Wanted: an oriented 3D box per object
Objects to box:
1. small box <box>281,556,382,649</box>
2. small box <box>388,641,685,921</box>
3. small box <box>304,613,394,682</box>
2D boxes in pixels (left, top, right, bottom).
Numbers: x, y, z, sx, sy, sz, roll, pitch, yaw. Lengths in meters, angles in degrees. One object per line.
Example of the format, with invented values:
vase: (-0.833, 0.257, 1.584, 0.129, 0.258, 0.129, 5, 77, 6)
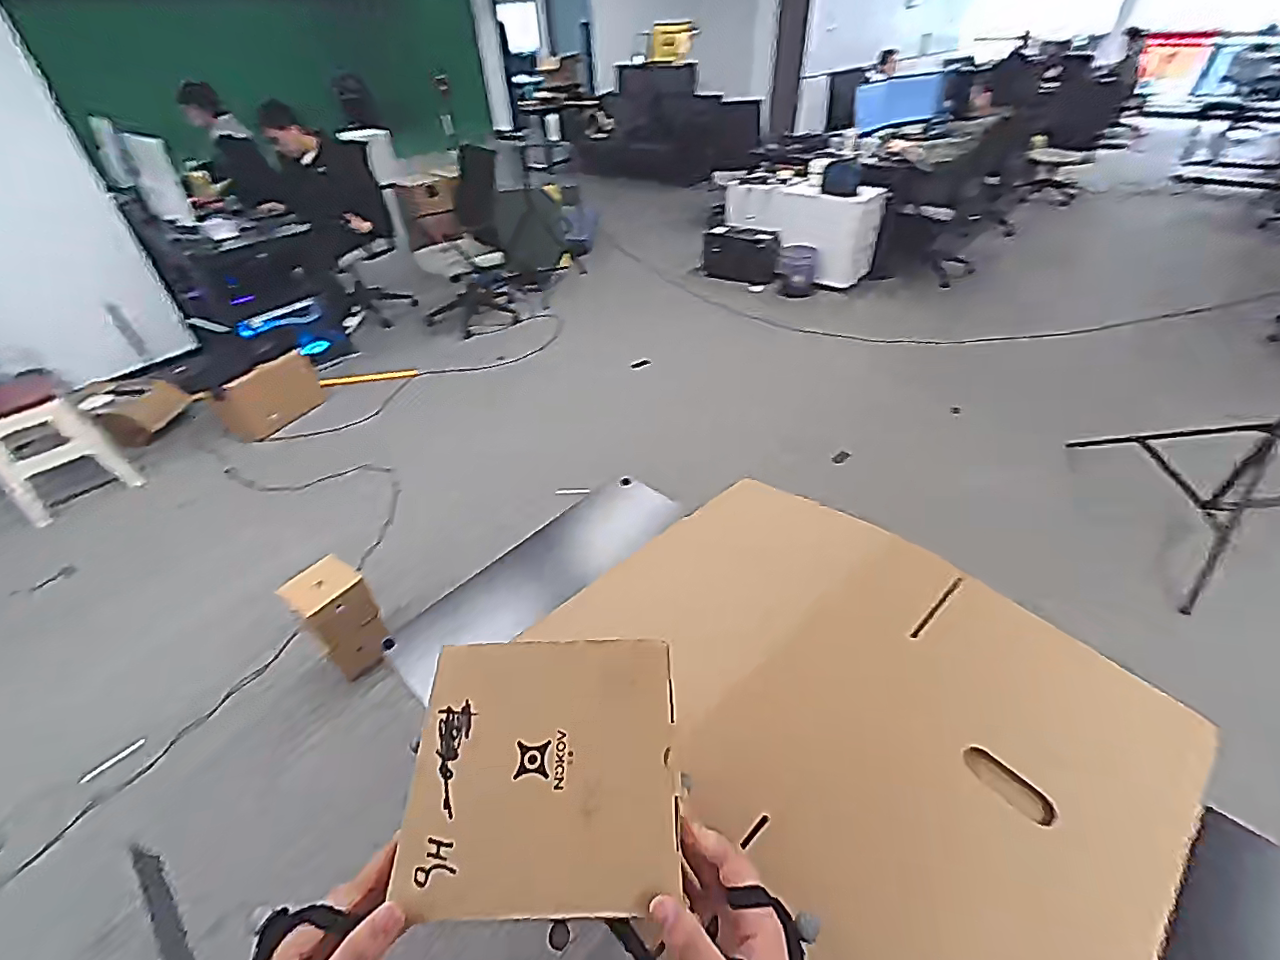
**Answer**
small box: (-0.910, 0.367, 1.607, 0.168, 0.176, 0.179, 24, 46, 27)
small box: (-0.064, 0.239, 0.428, 0.179, 0.176, 0.168, -1, 49, -2)
small box: (-0.908, 0.495, 1.707, 0.168, 0.176, 0.179, 25, 48, 30)
